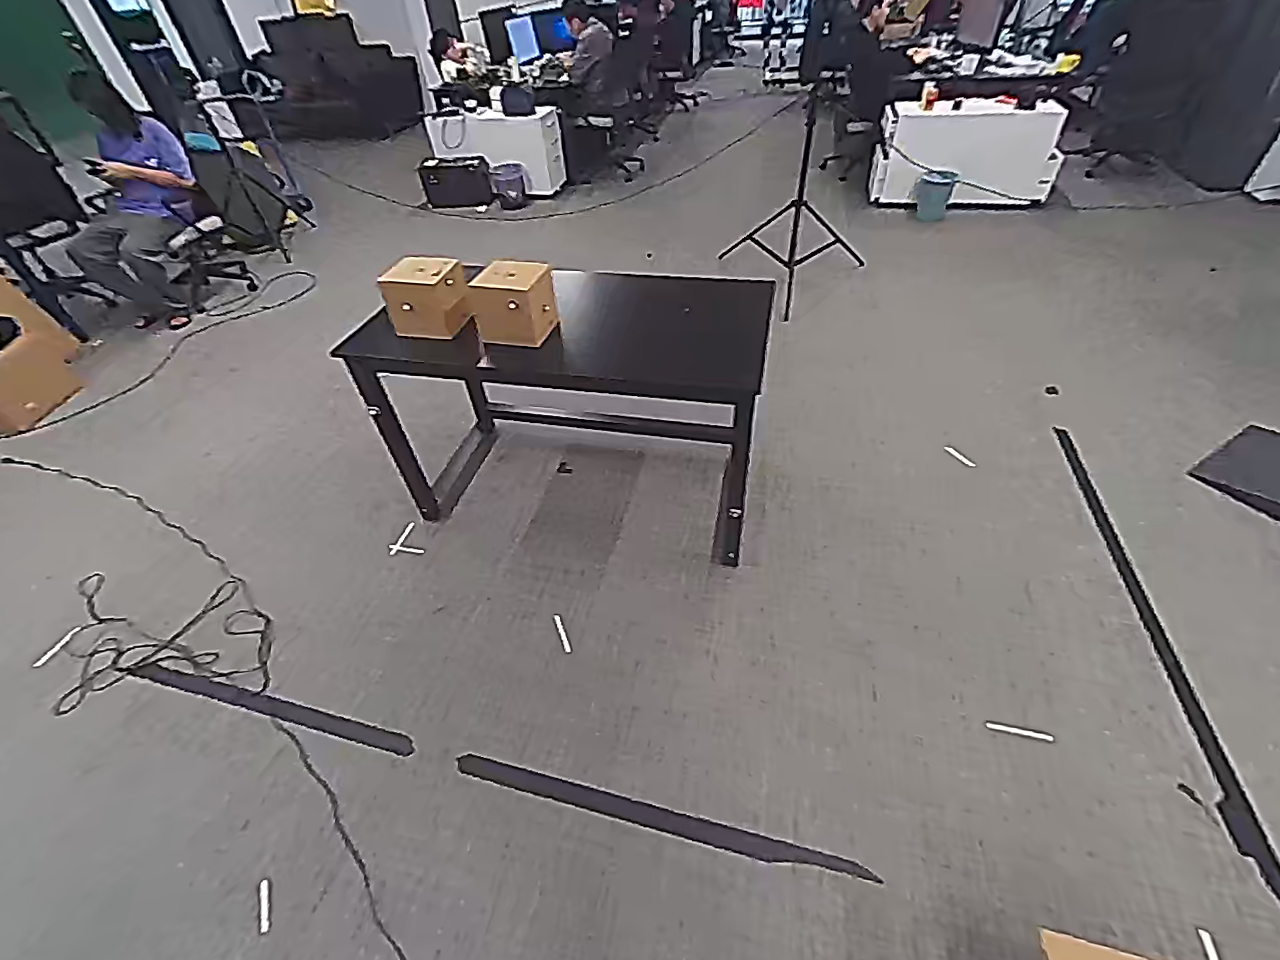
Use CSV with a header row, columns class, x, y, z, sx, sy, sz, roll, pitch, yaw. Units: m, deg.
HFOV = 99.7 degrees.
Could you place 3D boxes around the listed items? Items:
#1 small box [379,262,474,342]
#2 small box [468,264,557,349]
class,x,y,z,sx,sy,sz,roll,pitch,yaw
small box,-0.610,-0.516,1.568,0.179,0.176,0.168,5,45,11
small box,-0.345,-0.483,1.511,0.179,0.176,0.168,8,45,12
